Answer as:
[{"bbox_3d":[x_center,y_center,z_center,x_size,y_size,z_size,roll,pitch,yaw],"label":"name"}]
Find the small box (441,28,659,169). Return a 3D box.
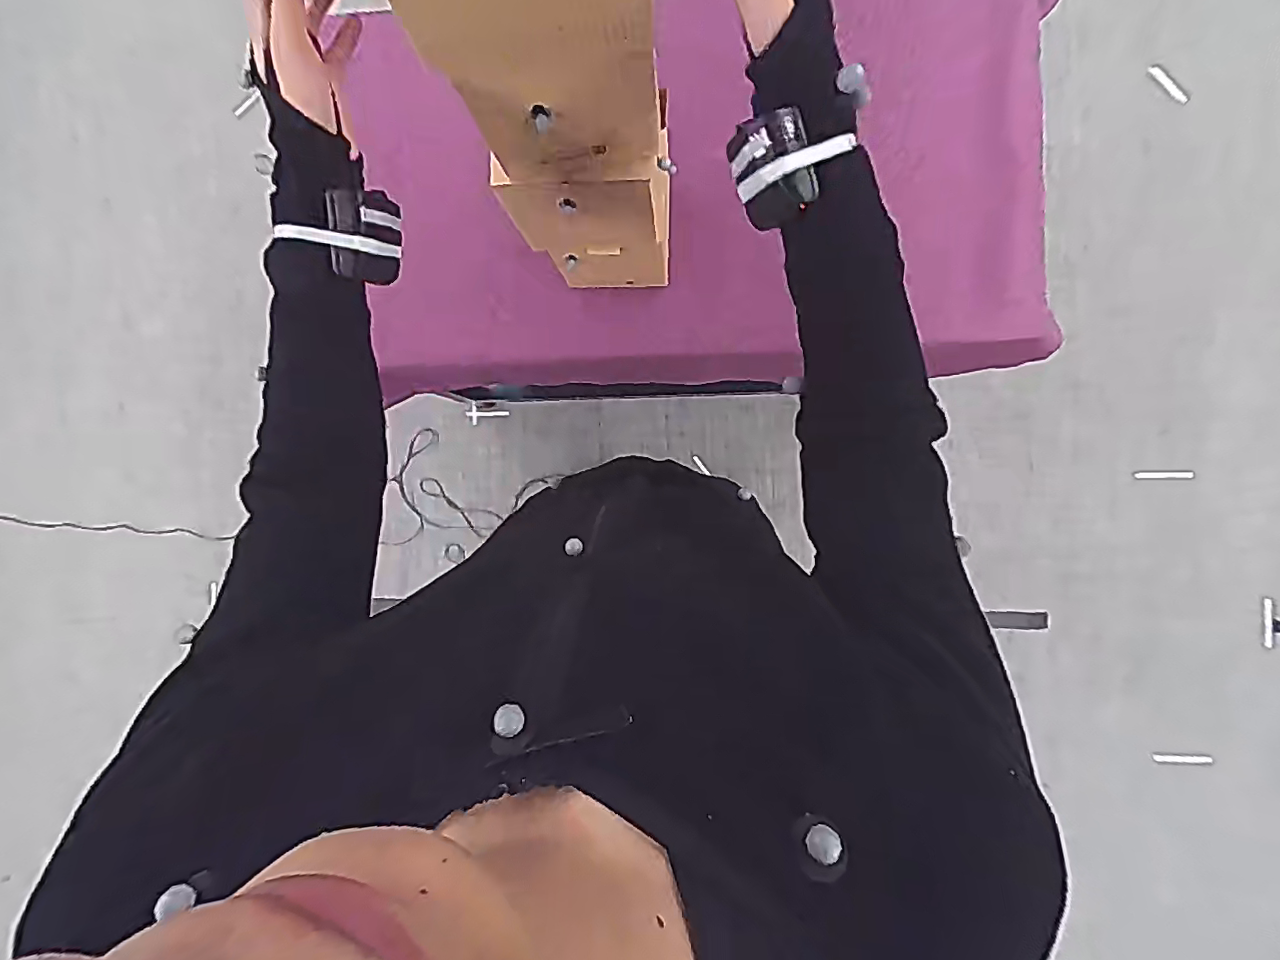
[{"bbox_3d":[-0.076,-0.413,0.492,0.168,0.176,0.179,-7,89,5],"label":"small box"}]

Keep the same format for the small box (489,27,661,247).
[{"bbox_3d":[-0.067,-0.396,0.654,0.179,0.176,0.168,1,91,4],"label":"small box"}]

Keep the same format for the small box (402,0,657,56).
[{"bbox_3d":[-0.082,-0.400,0.327,0.179,0.176,0.168,-1,90,4],"label":"small box"}]
